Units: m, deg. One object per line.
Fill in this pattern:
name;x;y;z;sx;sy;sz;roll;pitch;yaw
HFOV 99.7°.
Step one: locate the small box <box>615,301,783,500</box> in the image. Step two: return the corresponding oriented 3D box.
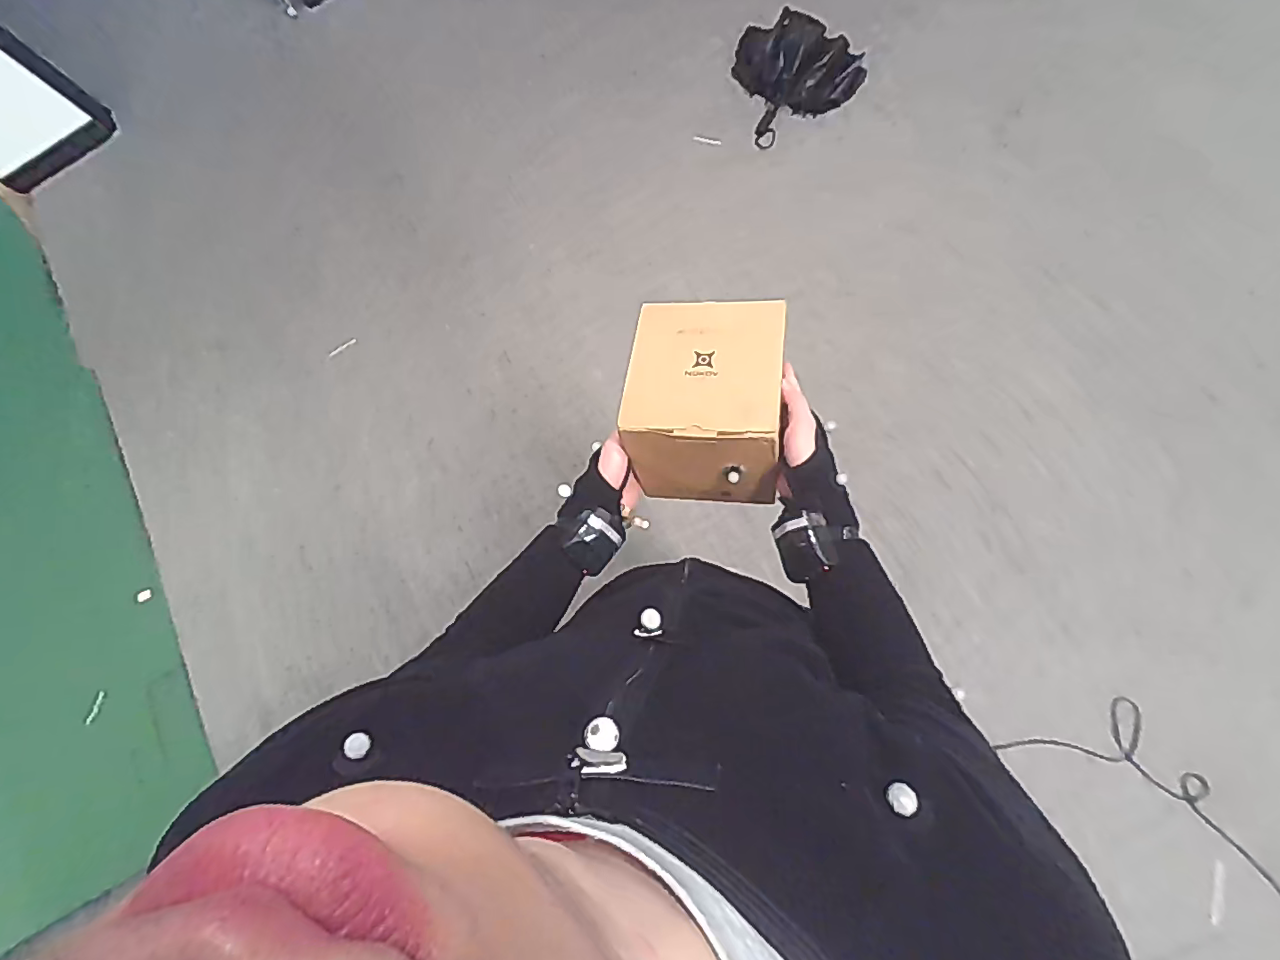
small box;0.079;-0.089;0.648;0.168;0.176;0.179;4;62;13
